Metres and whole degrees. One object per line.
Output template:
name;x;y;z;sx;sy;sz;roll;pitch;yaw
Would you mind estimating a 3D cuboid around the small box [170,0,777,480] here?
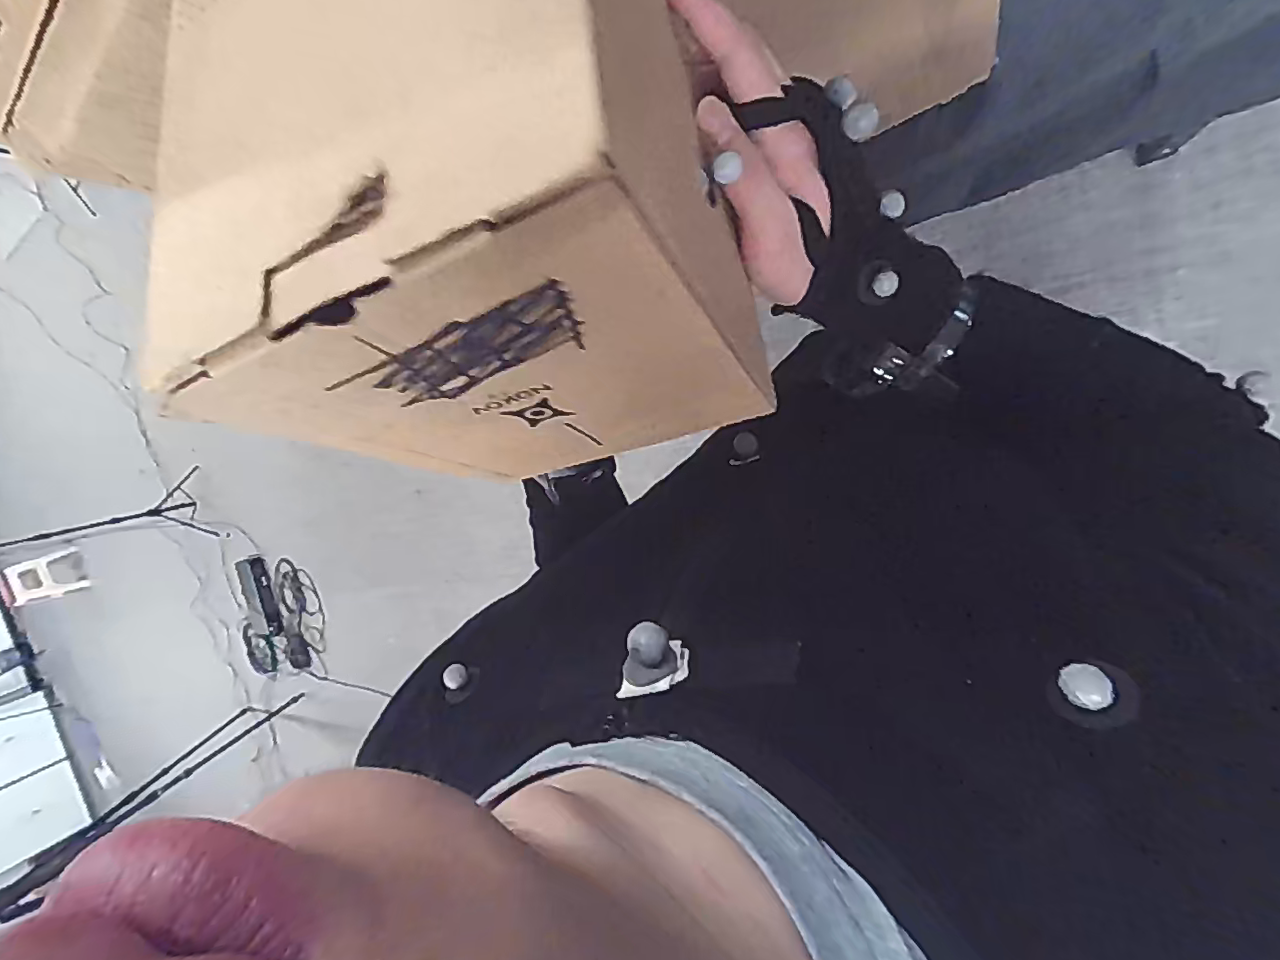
small box;-0.051;-0.111;0.233;0.168;0.179;0.176;-13;76;21
